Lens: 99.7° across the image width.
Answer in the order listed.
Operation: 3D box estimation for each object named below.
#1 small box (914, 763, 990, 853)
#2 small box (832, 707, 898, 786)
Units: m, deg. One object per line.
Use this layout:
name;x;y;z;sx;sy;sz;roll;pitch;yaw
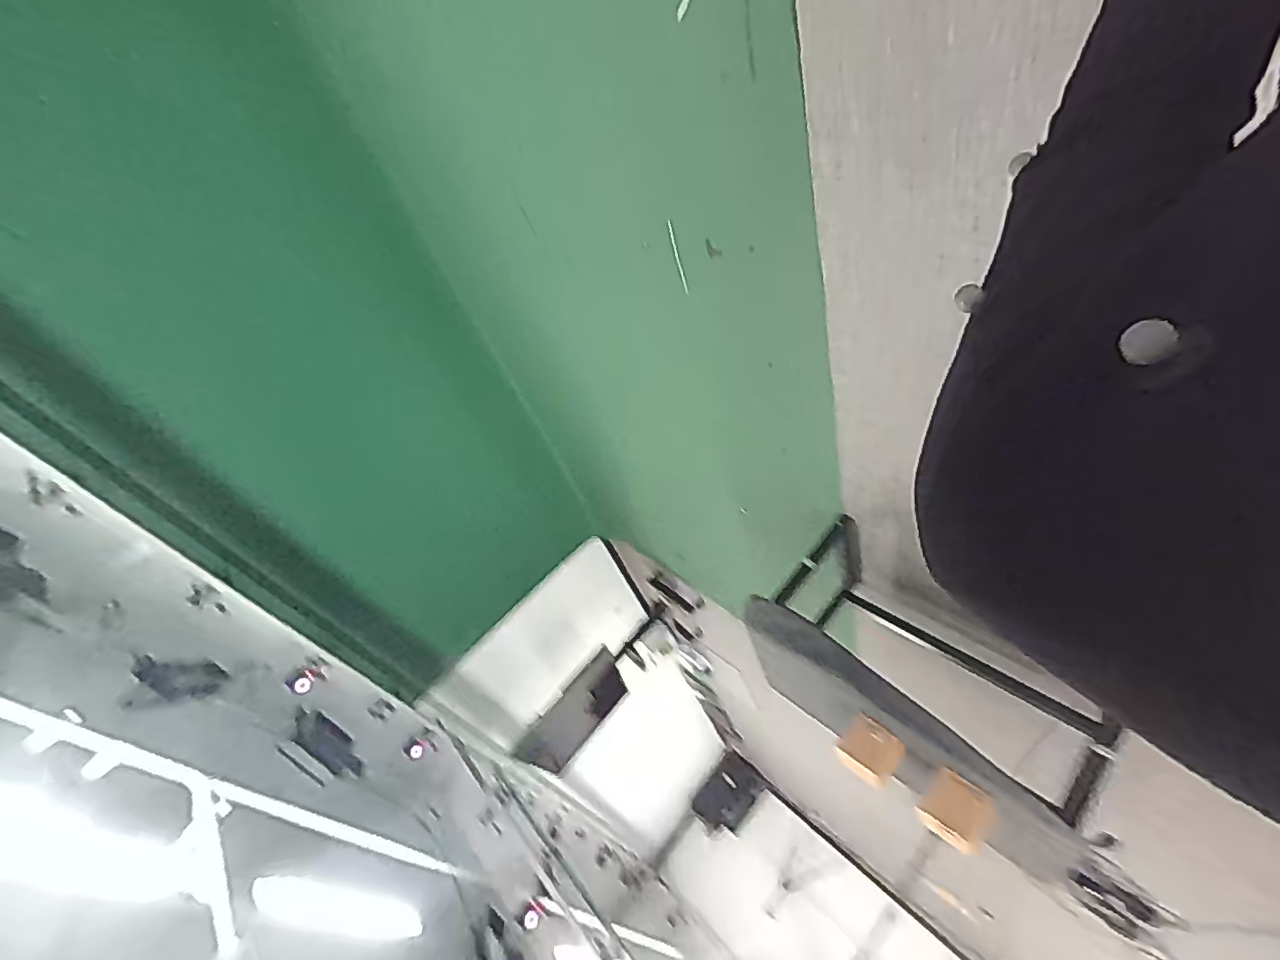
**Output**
small box;1.035;1.080;1.790;0.168;0.176;0.179;25;153;47
small box;0.844;0.993;2.020;0.168;0.176;0.179;25;150;43
